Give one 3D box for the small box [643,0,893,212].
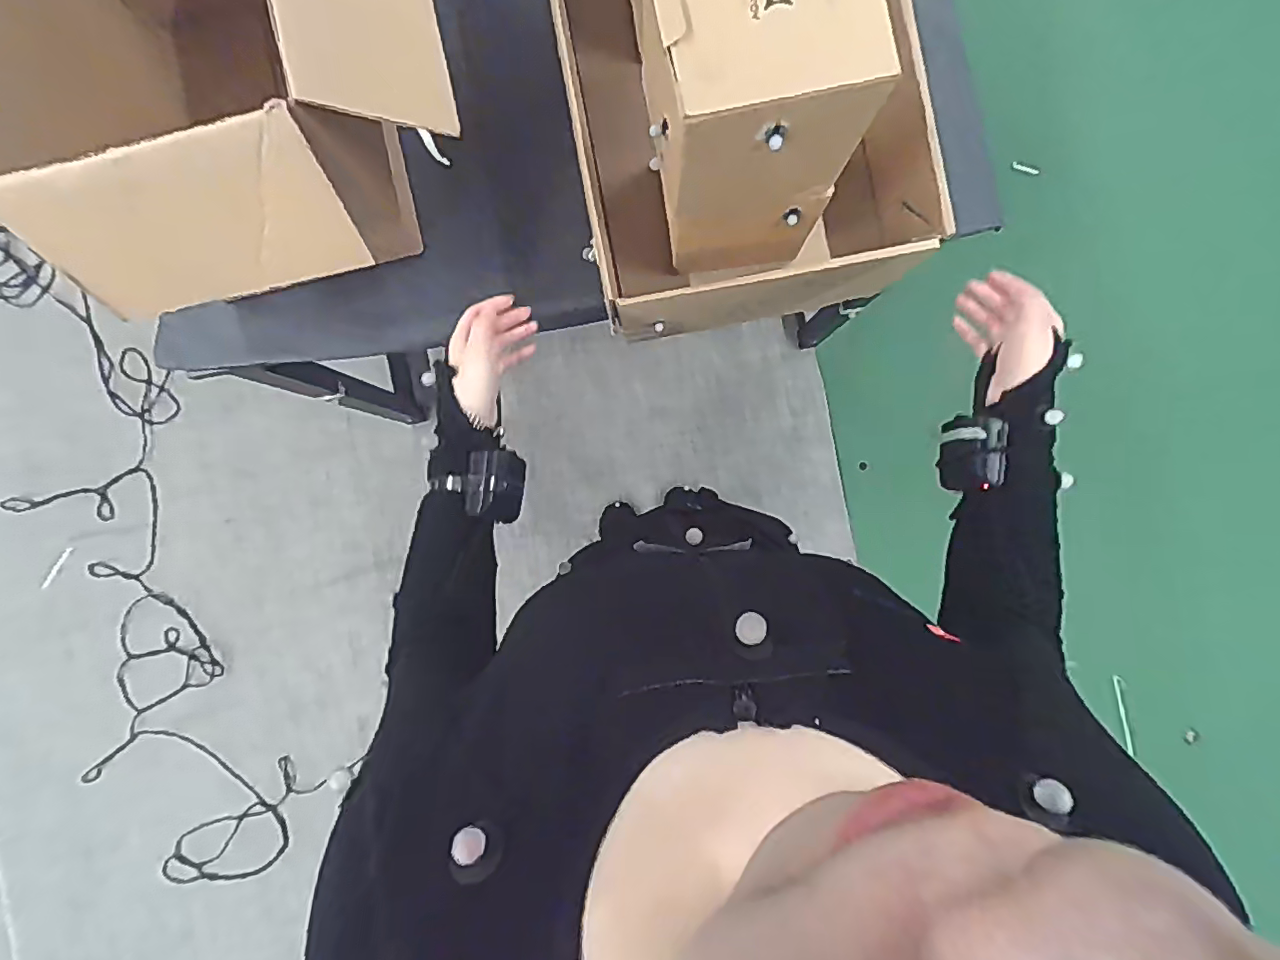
[{"bbox_3d":[0.100,-0.378,0.505,0.179,0.176,0.168,-12,90,-1],"label":"small box"}]
